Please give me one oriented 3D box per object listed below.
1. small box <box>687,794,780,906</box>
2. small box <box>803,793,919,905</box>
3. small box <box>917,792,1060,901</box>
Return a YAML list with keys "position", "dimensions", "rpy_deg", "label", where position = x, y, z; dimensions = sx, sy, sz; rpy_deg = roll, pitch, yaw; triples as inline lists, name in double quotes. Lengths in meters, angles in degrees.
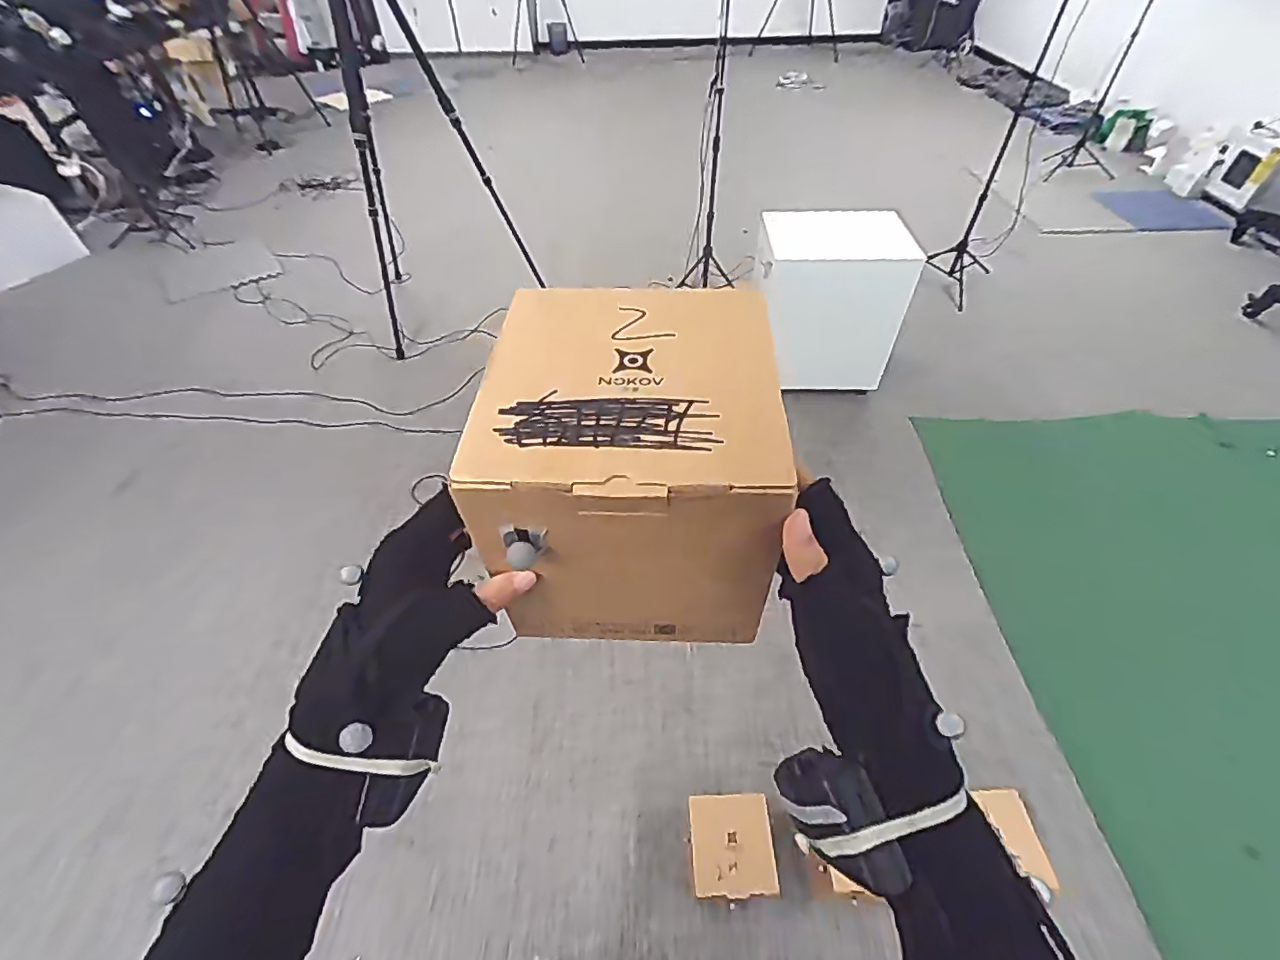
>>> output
- position: [0.189, 0.788, 1.149]
  dimensions: [0.168, 0.176, 0.179]
  rpy_deg: [-2, 48, 1]
  label: "small box"
- position: [0.457, 0.786, 1.151]
  dimensions: [0.168, 0.176, 0.179]
  rpy_deg: [0, 49, 1]
  label: "small box"
- position: [0.726, 0.782, 1.149]
  dimensions: [0.168, 0.176, 0.179]
  rpy_deg: [-2, 48, -1]
  label: "small box"
